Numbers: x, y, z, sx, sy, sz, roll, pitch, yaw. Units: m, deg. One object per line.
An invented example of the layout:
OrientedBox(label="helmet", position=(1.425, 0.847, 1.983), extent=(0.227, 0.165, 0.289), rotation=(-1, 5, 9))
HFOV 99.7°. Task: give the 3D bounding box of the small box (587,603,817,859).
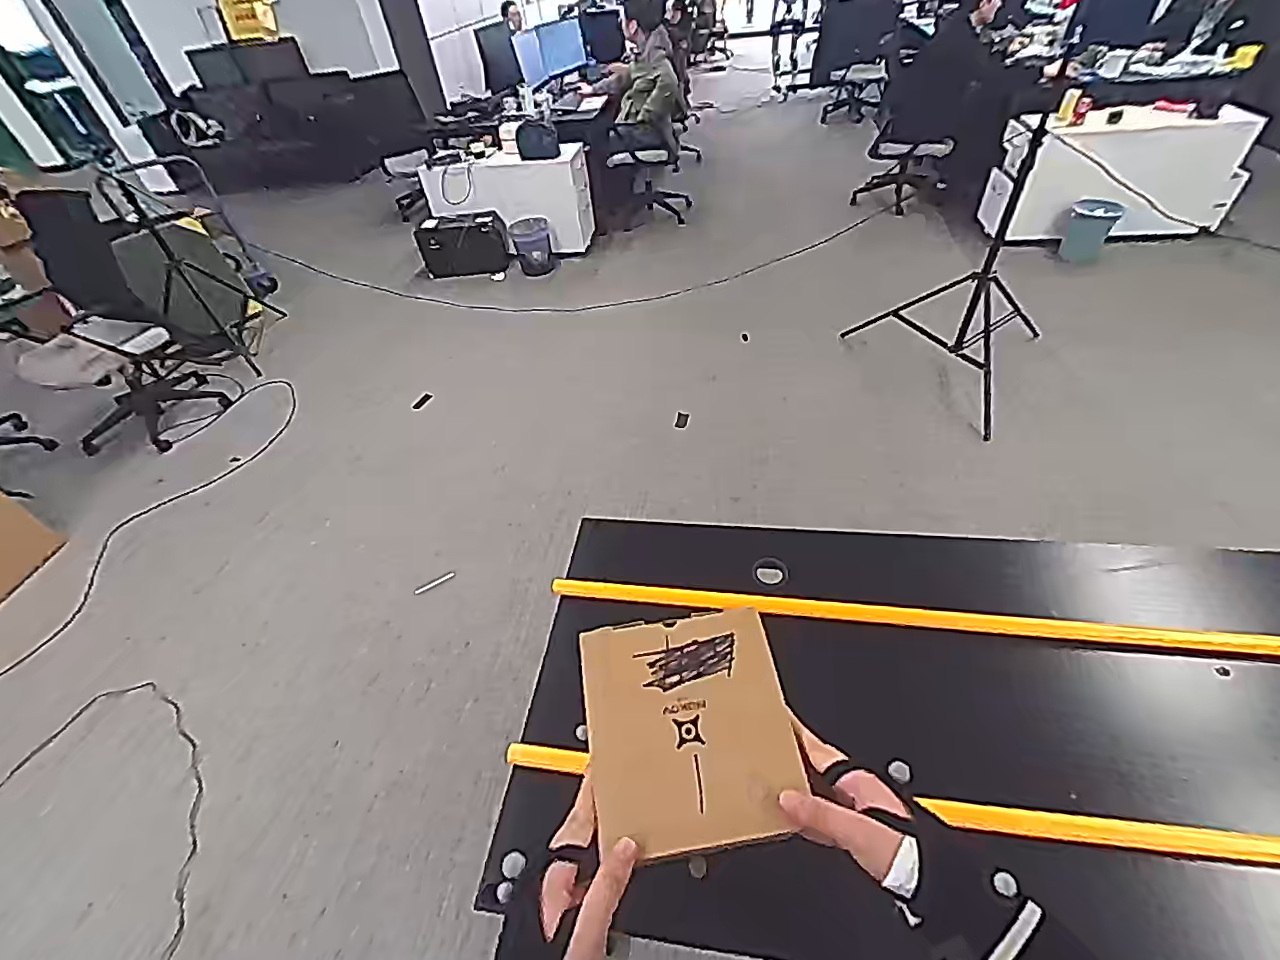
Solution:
OrientedBox(label="small box", position=(0.043, 0.241, 0.514), extent=(0.168, 0.176, 0.179), rotation=(-8, 54, -4))
